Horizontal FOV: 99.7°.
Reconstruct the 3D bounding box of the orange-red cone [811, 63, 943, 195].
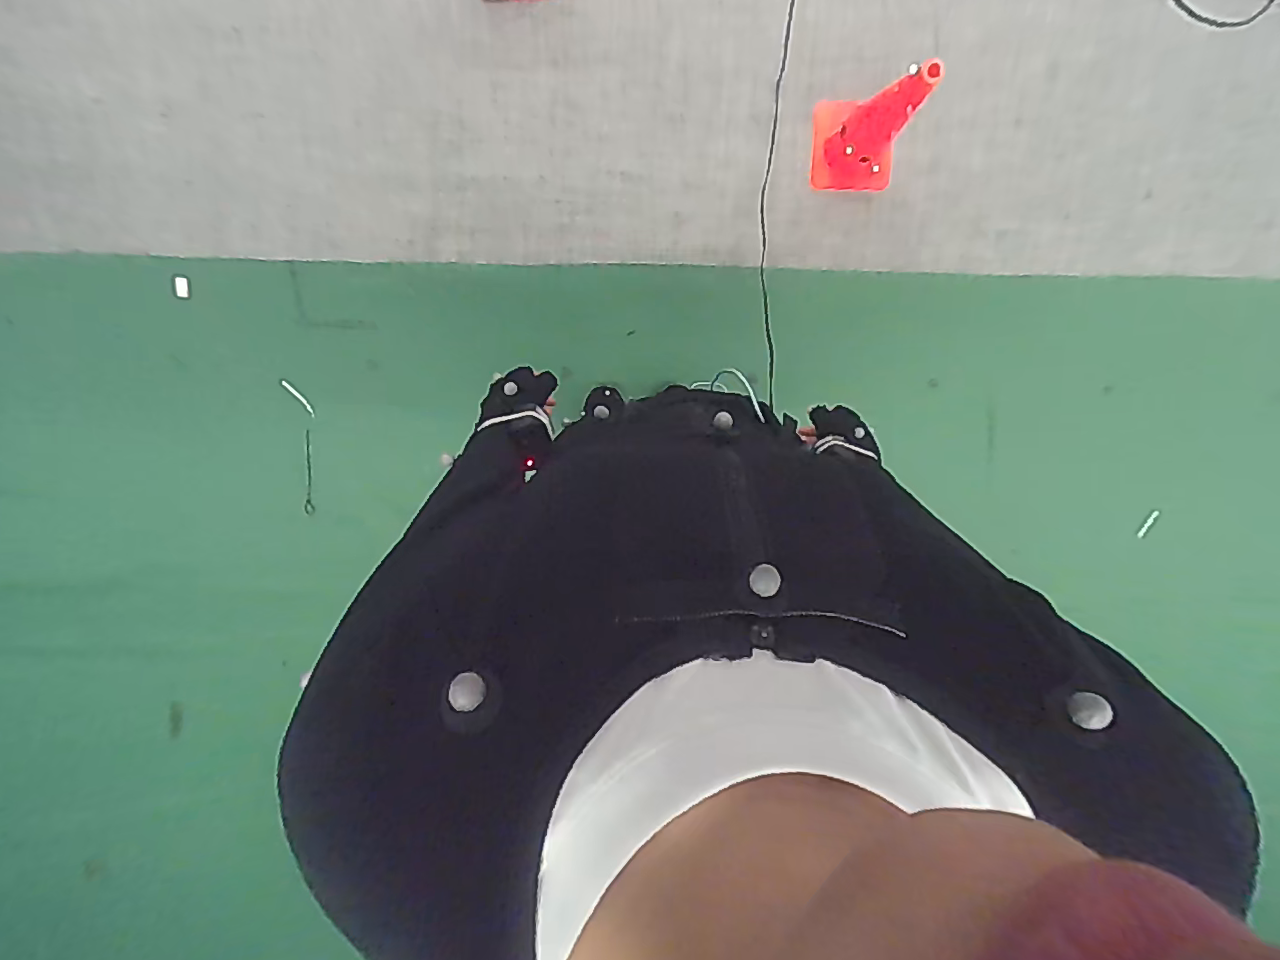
[{"bbox_3d":[0.531,-0.785,1.168,0.198,0.360,0.199,1,100,-3],"label":"orange-red cone"}]
